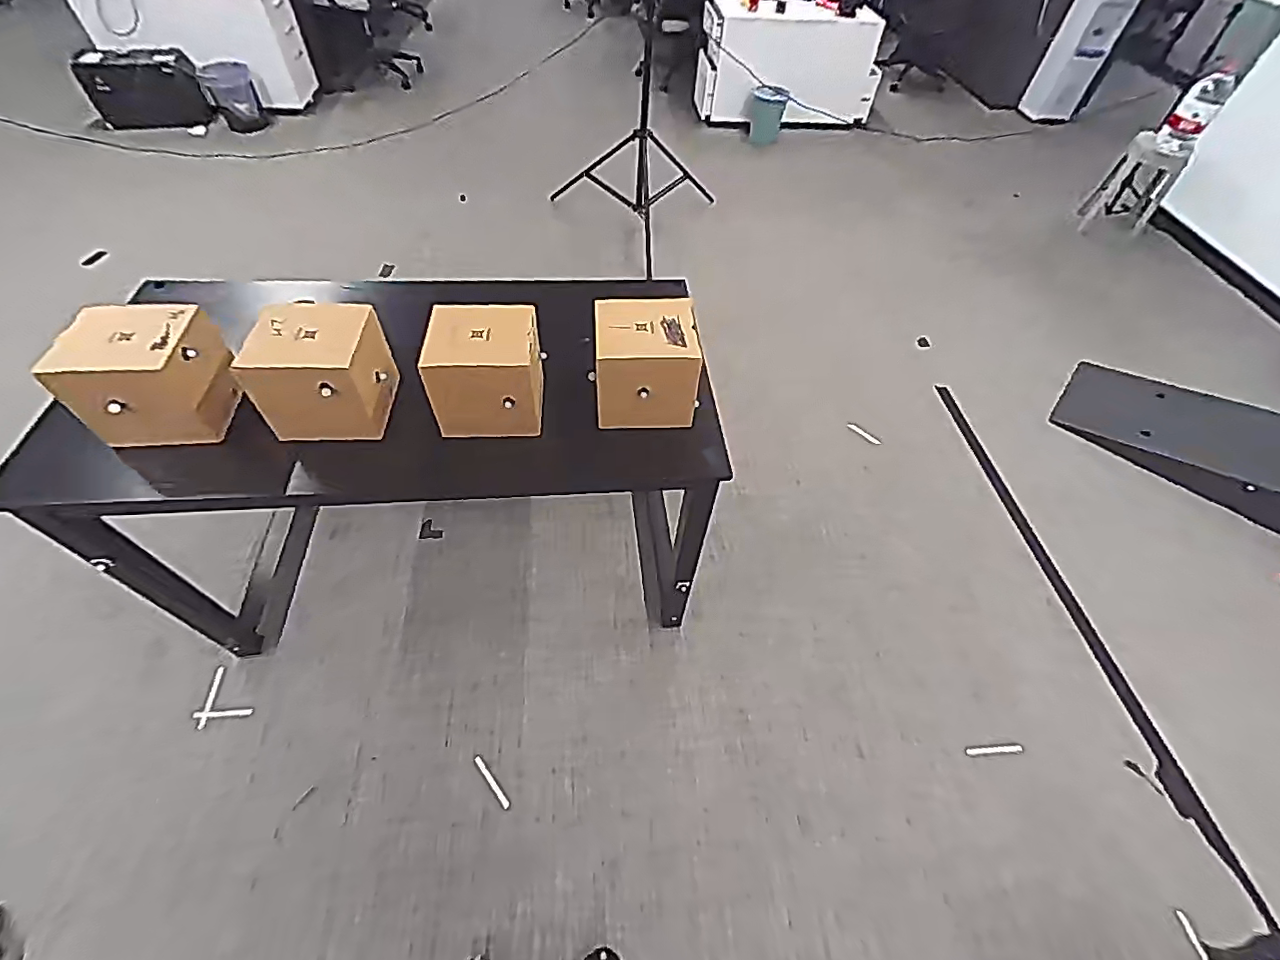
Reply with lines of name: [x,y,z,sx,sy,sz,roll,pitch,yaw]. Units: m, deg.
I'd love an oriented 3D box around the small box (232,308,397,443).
small box: [-0.544,-0.177,0.939,0.179,0.176,0.168,-1,52,-4]

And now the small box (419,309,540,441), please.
small box: [-0.272,-0.183,0.962,0.179,0.176,0.168,-3,51,-6]

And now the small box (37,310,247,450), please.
small box: [-0.816,-0.165,0.913,0.179,0.176,0.168,-4,53,-6]

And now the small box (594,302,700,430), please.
small box: [0.005,-0.205,0.993,0.179,0.176,0.168,-2,52,-3]
